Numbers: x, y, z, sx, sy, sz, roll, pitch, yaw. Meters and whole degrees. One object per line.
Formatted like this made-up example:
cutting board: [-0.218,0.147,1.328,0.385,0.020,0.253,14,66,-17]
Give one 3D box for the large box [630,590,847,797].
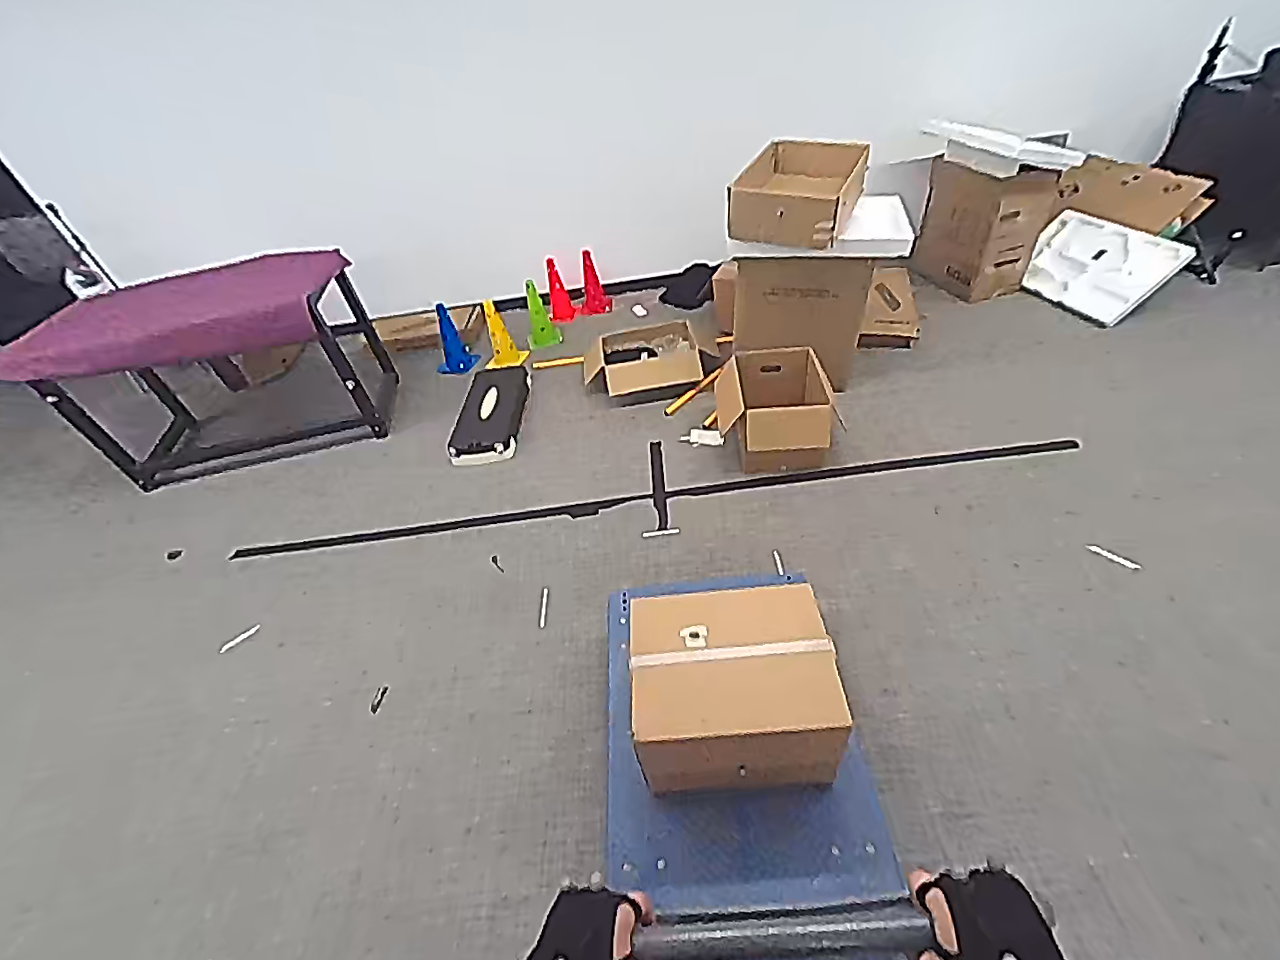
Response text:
large box: [0.202,0.483,1.212,0.408,0.320,0.320,-7,42,4]
